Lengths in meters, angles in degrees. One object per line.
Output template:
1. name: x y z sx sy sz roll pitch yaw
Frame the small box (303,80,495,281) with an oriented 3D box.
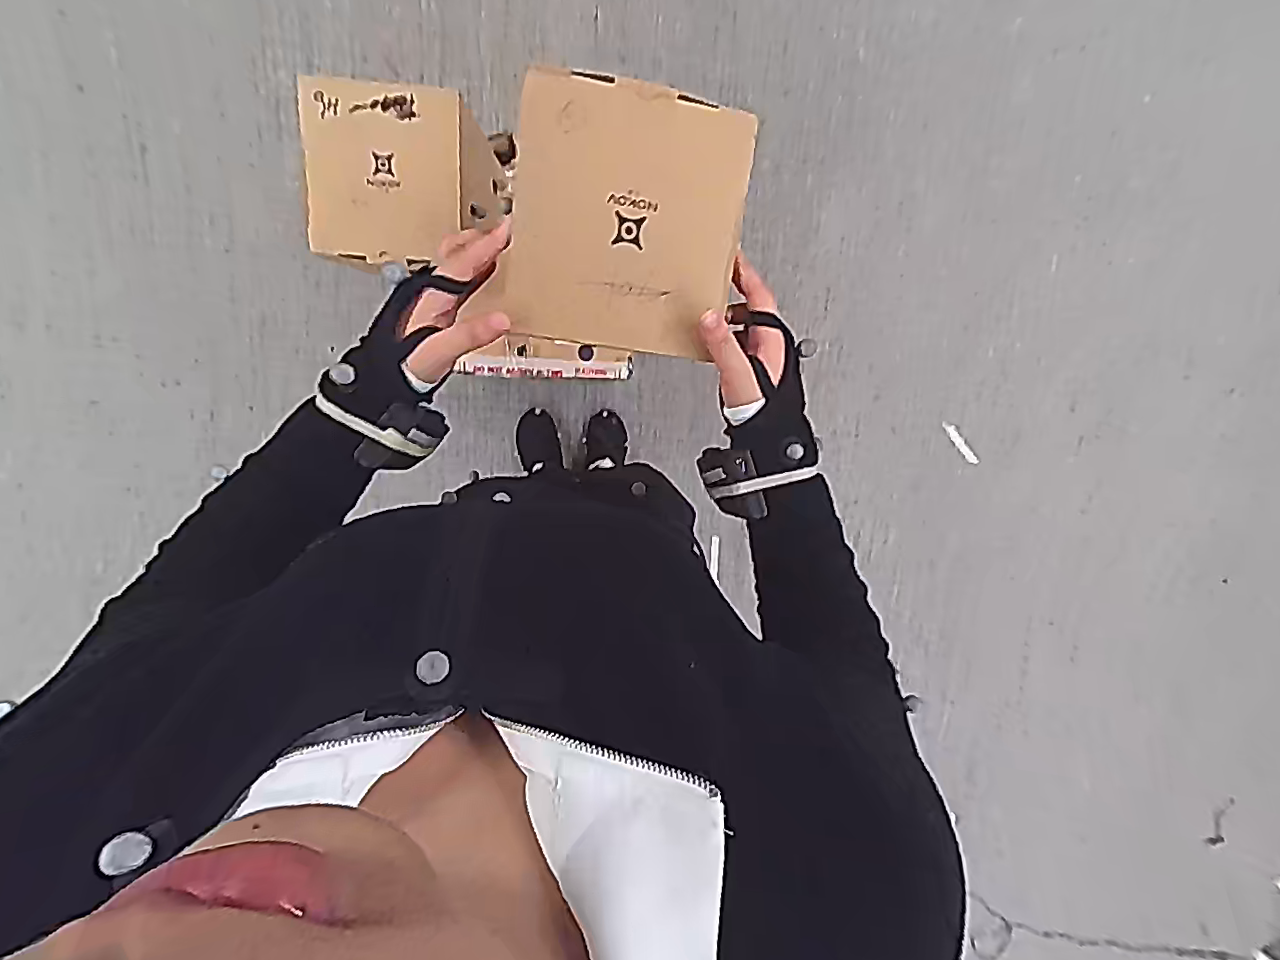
1. small box: -0.276 -0.346 0.662 0.168 0.176 0.179 2 104 -4

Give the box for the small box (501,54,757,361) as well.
1. small box: -0.021 -0.207 0.459 0.168 0.176 0.179 6 106 -10

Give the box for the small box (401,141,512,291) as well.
1. small box: -0.290 -0.392 0.819 0.168 0.176 0.179 1 103 -3
